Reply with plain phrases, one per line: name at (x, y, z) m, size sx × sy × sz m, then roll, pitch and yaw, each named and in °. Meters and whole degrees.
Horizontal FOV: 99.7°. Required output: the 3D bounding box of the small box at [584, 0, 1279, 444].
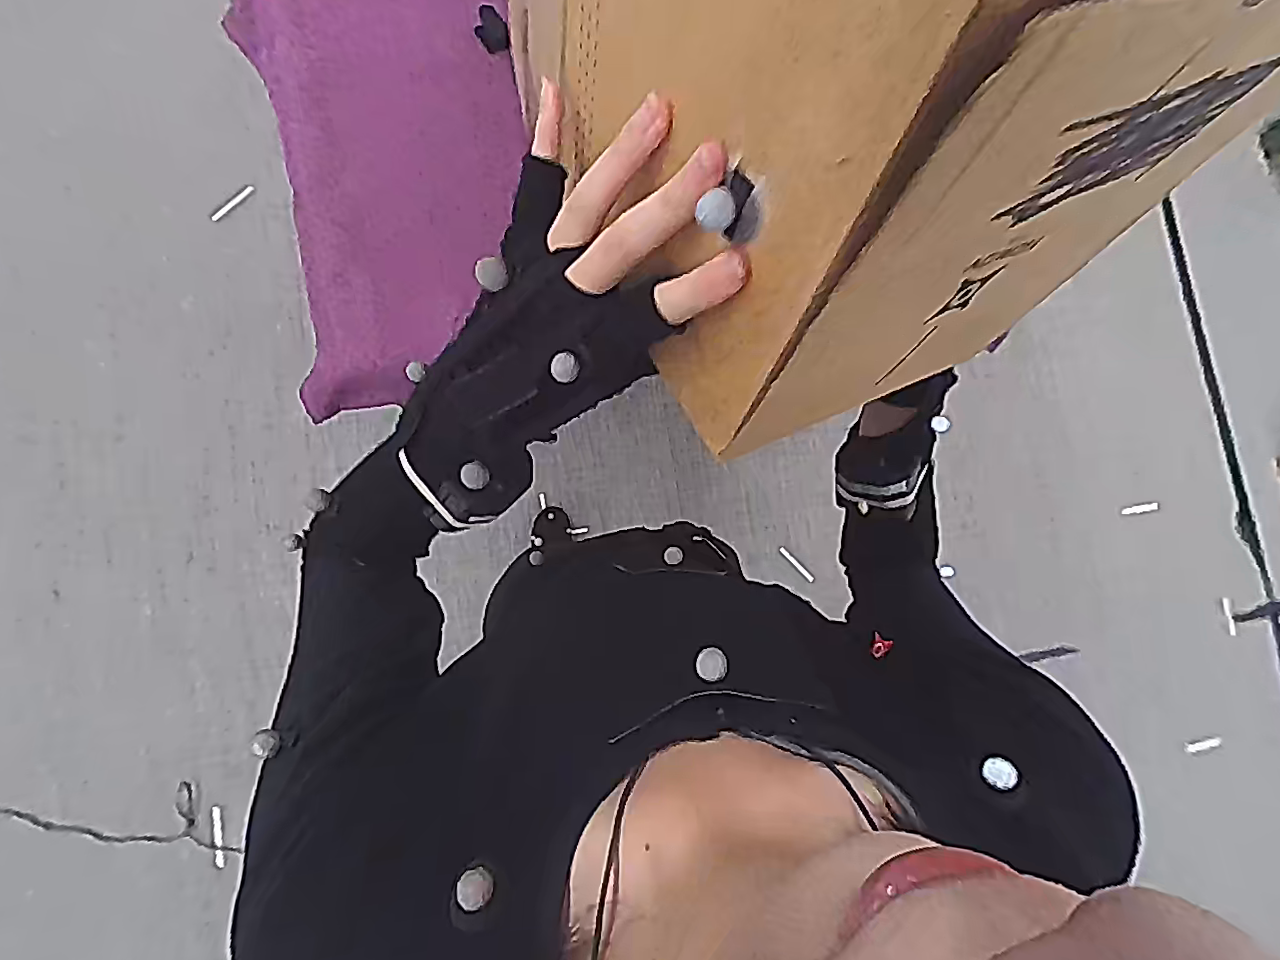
small box at (0.088, -0.148, 0.206) m, size 0.168 × 0.179 × 0.176 m, roll -22°, pitch 69°, yaw -19°
